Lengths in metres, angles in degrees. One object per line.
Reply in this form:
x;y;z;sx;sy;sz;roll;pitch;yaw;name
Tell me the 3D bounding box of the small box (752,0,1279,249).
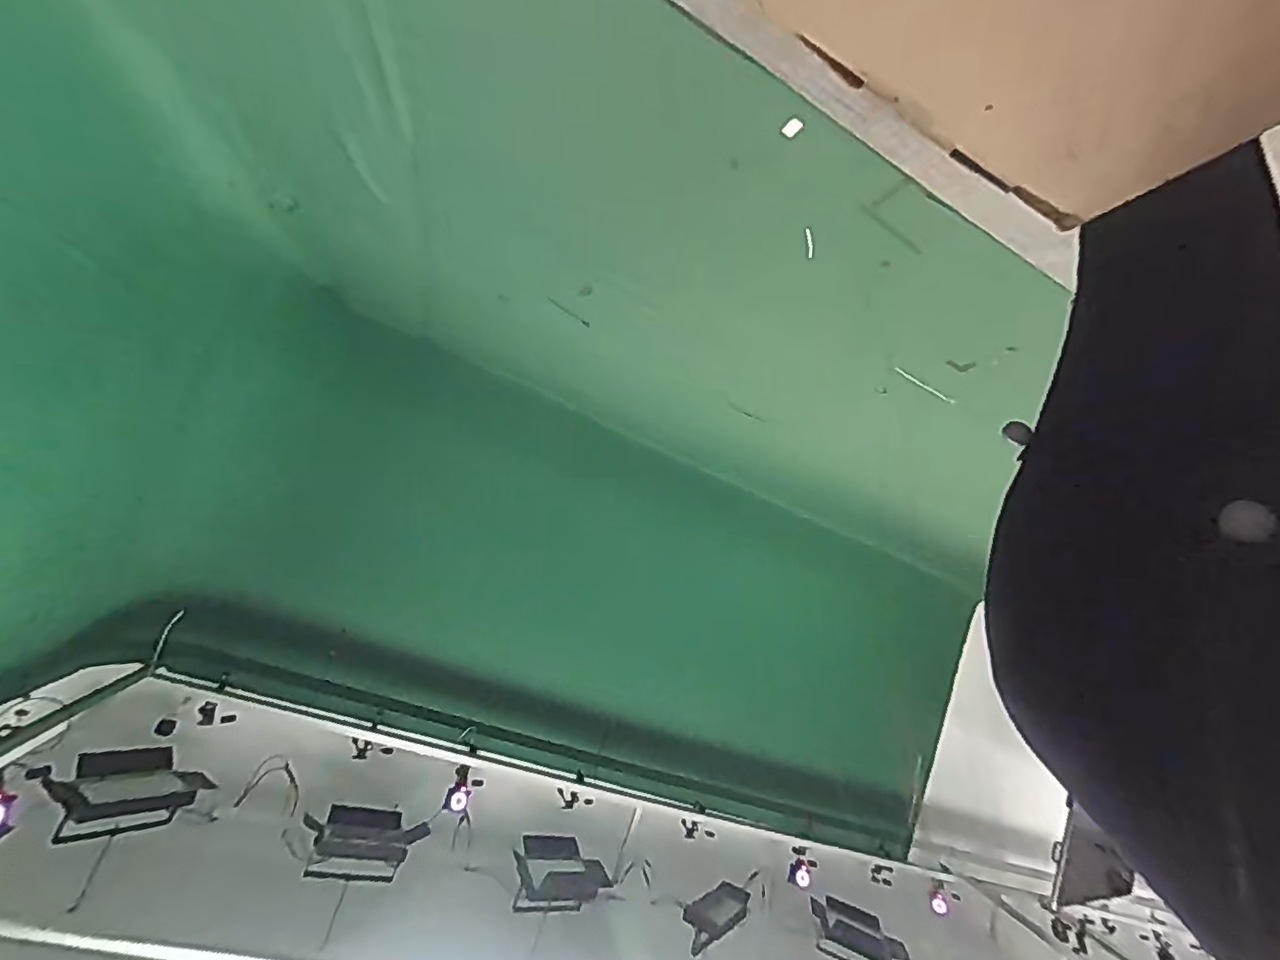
0.164;-0.211;0.147;0.168;0.176;0.179;25;169;-11;small box
